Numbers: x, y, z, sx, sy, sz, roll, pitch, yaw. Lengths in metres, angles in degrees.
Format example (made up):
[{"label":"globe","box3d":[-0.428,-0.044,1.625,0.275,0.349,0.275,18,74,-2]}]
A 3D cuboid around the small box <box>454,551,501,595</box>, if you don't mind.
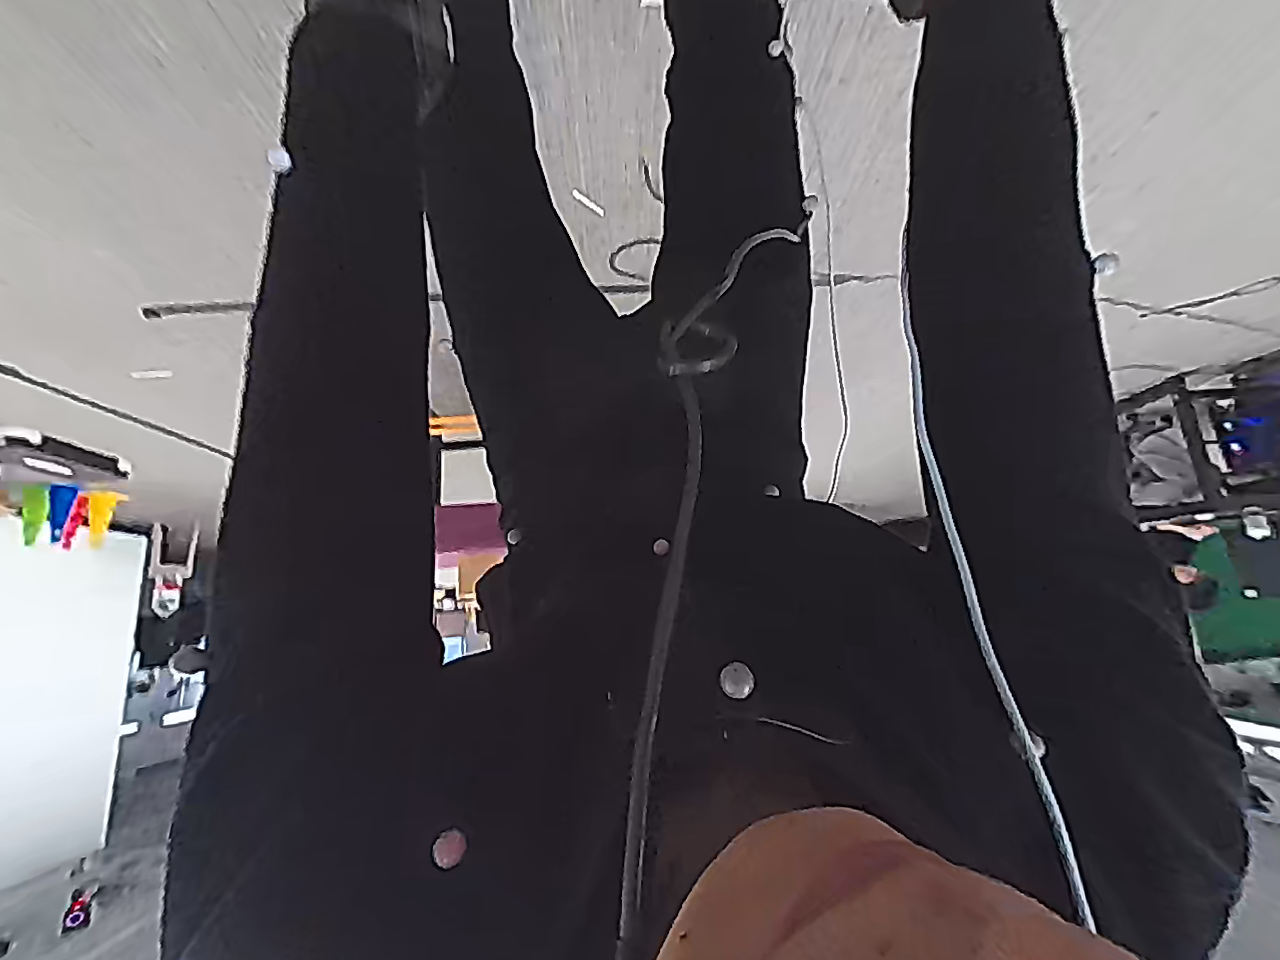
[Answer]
[{"label":"small box","box3d":[-0.689,0.395,2.297,0.168,0.176,0.179,-4,168,-6]}]
